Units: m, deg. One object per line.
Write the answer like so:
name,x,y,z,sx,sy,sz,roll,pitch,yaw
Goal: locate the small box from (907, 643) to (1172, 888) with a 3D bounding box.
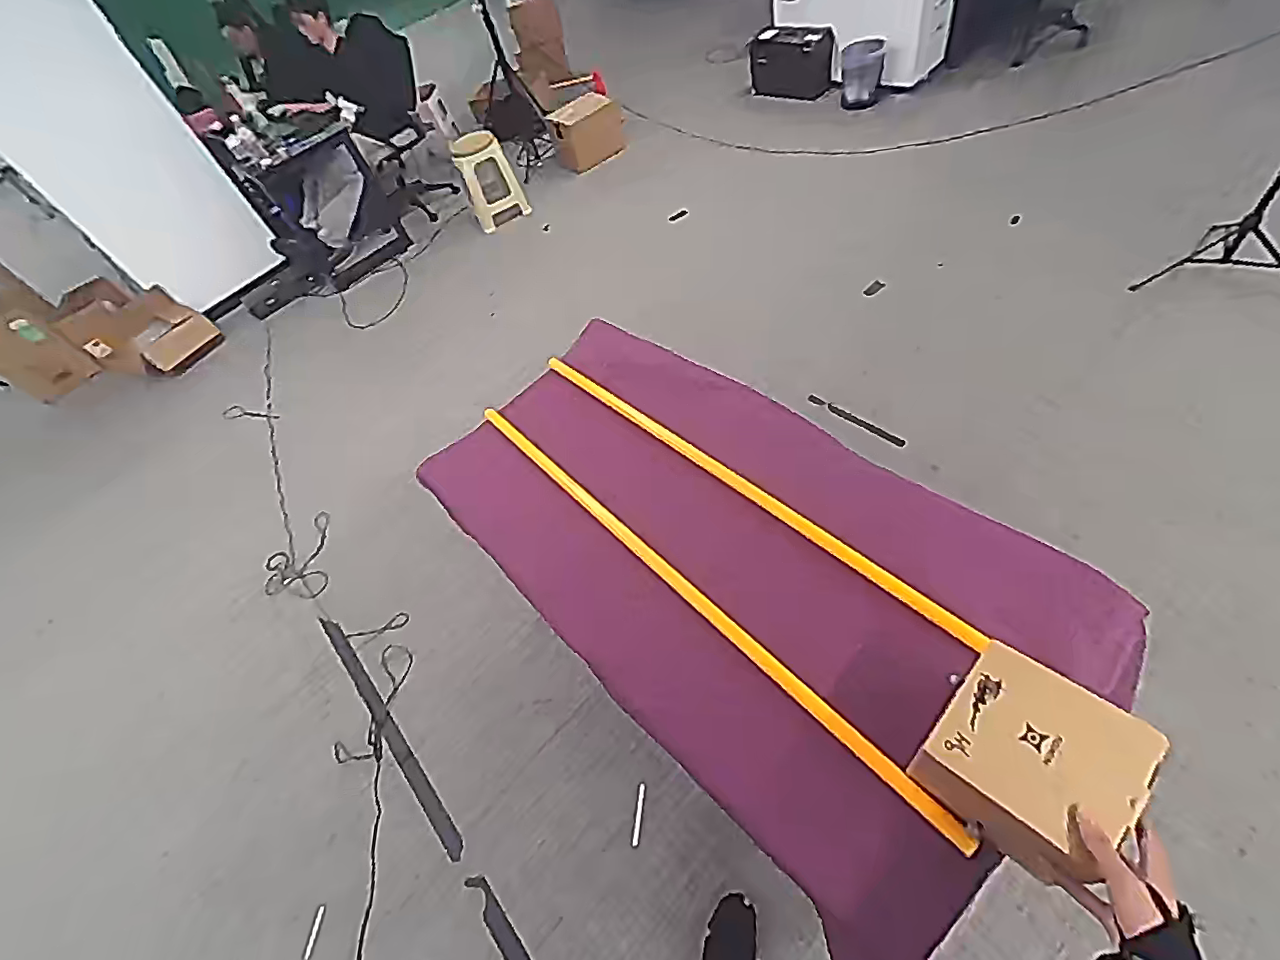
small box,0.446,0.331,0.634,0.179,0.176,0.168,33,69,34
